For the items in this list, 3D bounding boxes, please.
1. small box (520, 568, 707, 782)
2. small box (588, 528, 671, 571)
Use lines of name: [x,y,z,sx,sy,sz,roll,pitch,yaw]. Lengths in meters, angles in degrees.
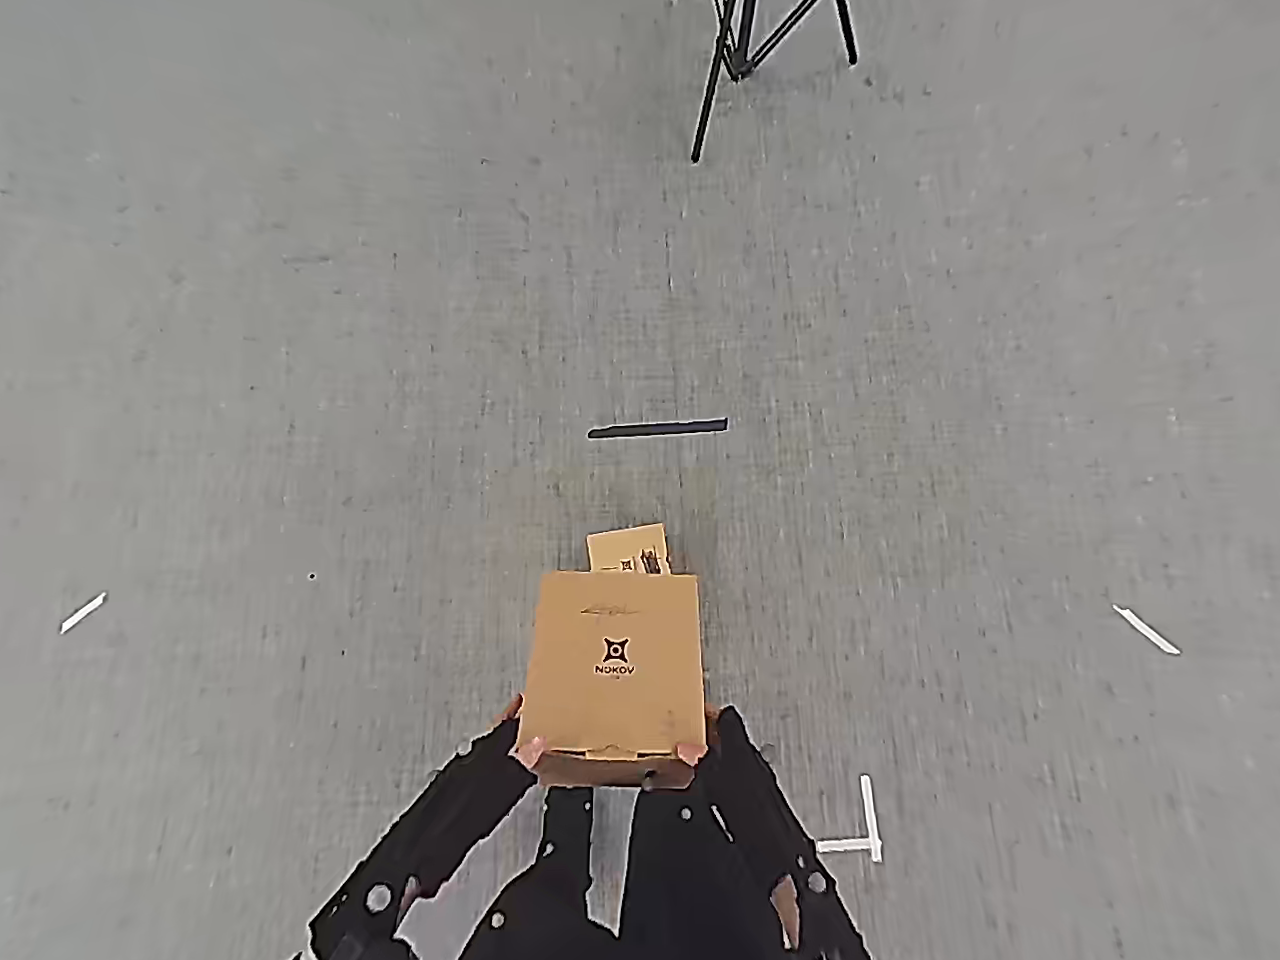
small box: [-0.024,0.212,0.577,0.168,0.176,0.179,2,51,-2]
small box: [-0.017,0.211,1.259,0.179,0.176,0.168,-9,77,1]
